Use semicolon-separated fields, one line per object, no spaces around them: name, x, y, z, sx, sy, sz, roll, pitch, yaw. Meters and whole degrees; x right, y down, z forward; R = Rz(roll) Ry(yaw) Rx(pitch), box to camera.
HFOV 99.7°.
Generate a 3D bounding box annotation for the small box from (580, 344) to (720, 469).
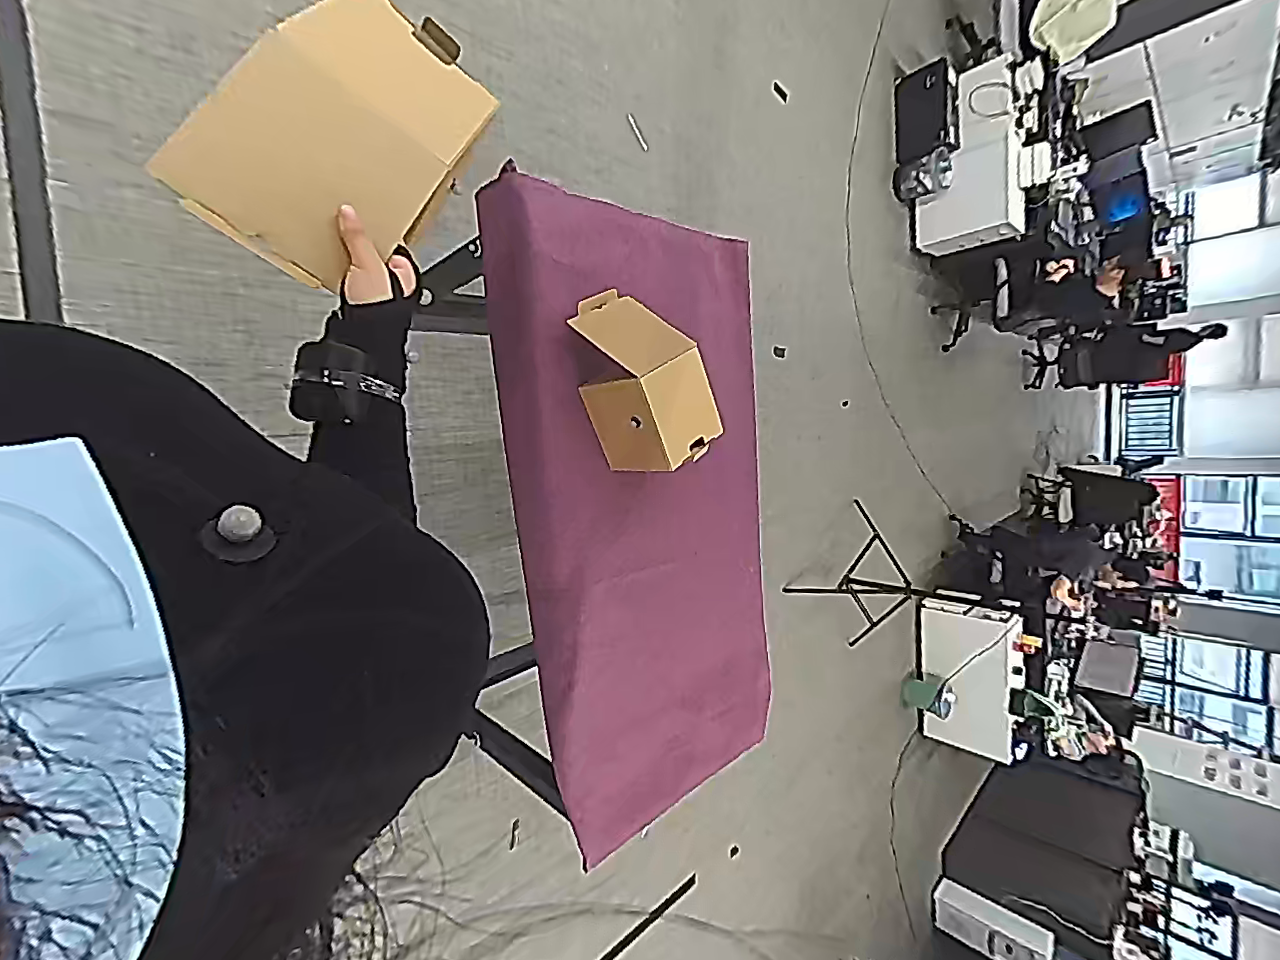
small box;0.015;-0.132;1.004;0.168;0.176;0.179;-36;116;-36
